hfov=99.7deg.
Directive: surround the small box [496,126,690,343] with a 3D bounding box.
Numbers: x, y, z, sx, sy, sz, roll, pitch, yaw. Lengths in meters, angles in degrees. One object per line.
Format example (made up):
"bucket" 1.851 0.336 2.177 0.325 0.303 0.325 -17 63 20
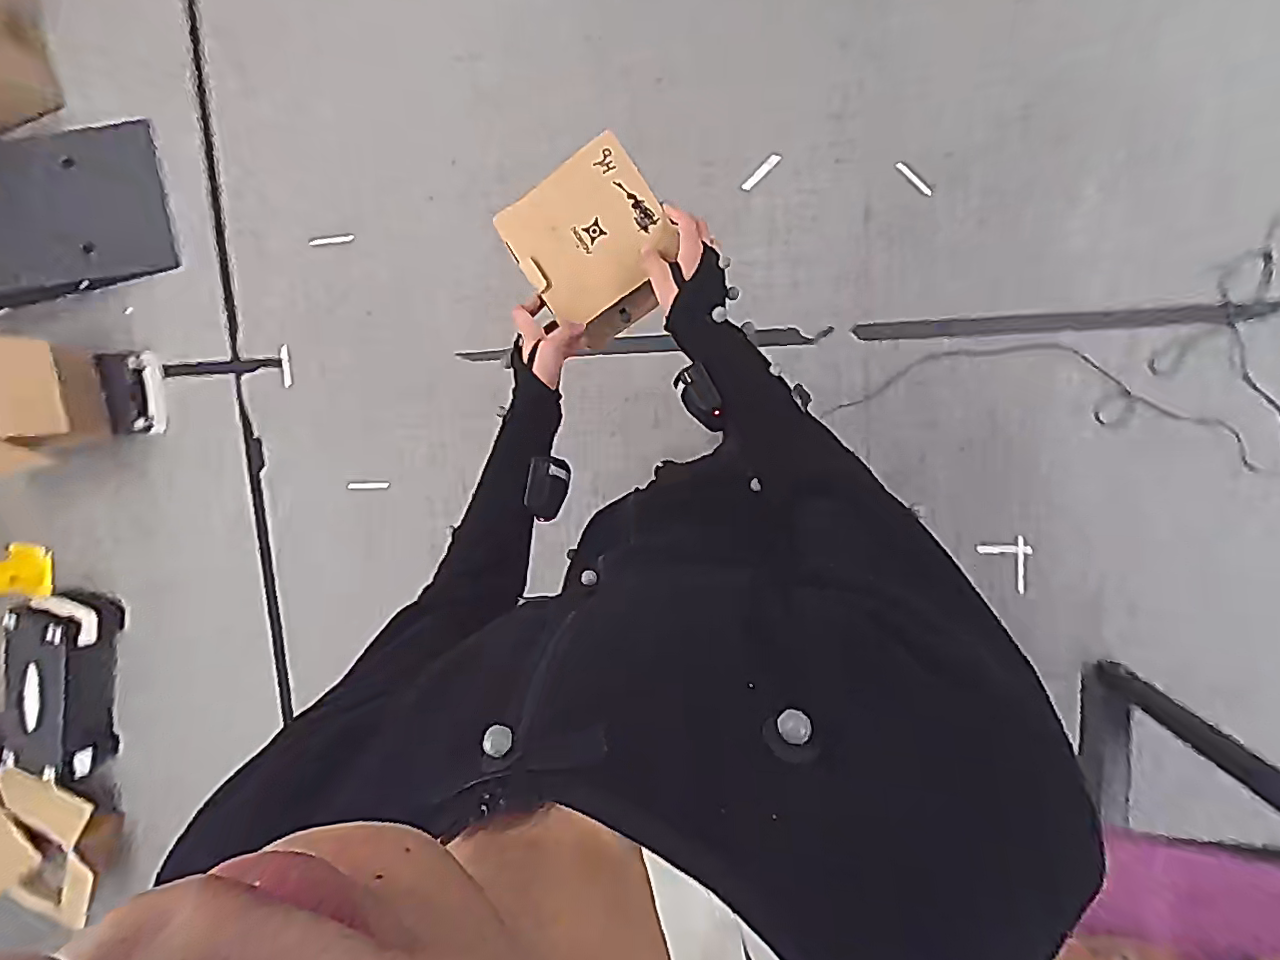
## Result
"small box" -0.047 -0.296 0.700 0.179 0.176 0.168 -31 94 10
